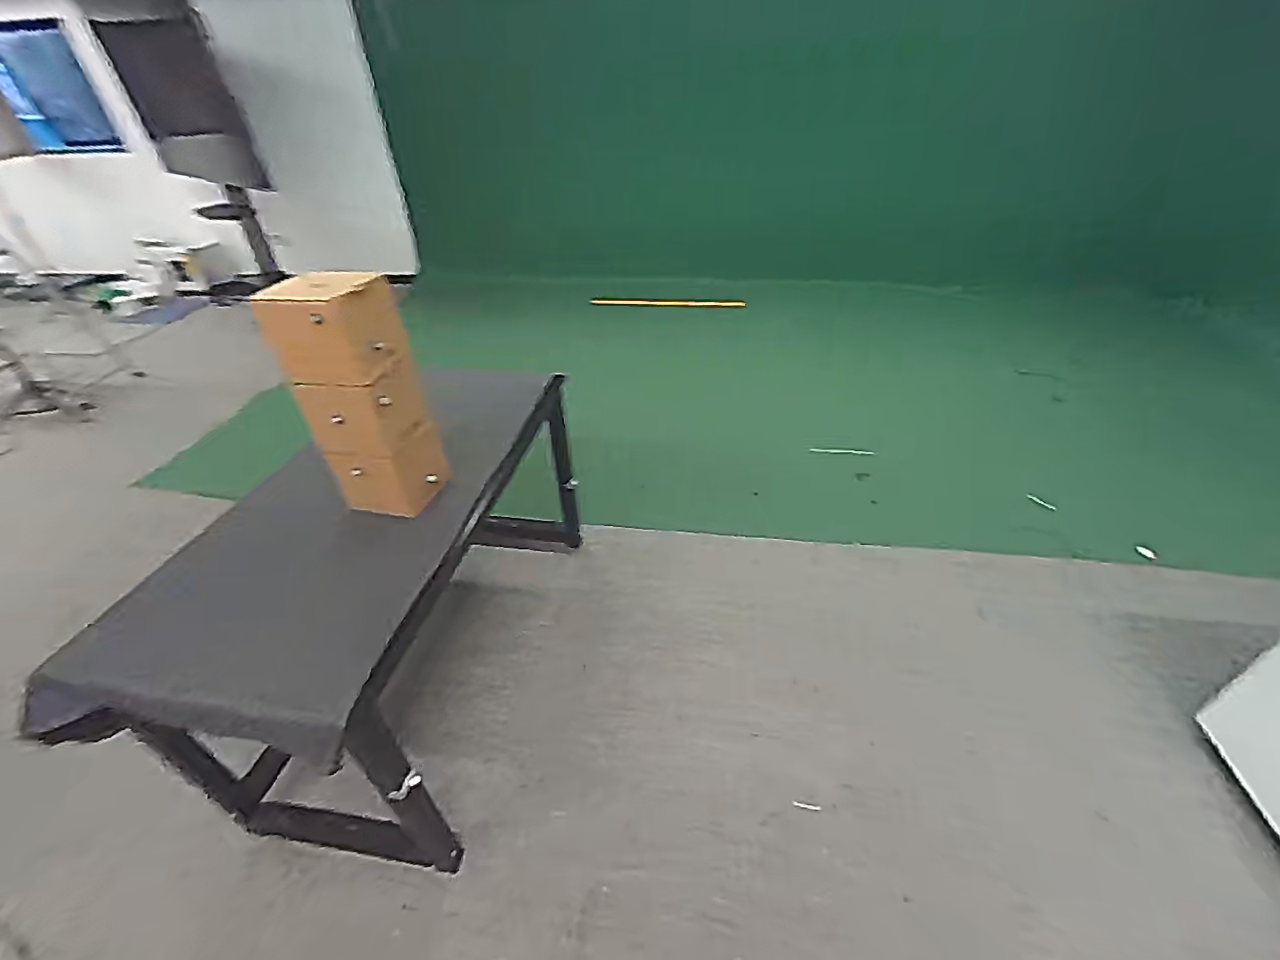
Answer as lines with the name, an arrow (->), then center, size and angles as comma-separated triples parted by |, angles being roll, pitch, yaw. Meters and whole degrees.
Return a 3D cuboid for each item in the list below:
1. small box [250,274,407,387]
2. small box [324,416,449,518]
small box -> -0.592, -0.291, 1.053 | 0.179, 0.176, 0.168 | 4, 37, 10
small box -> -0.574, -0.030, 1.247 | 0.179, 0.176, 0.168 | 7, 38, 13
